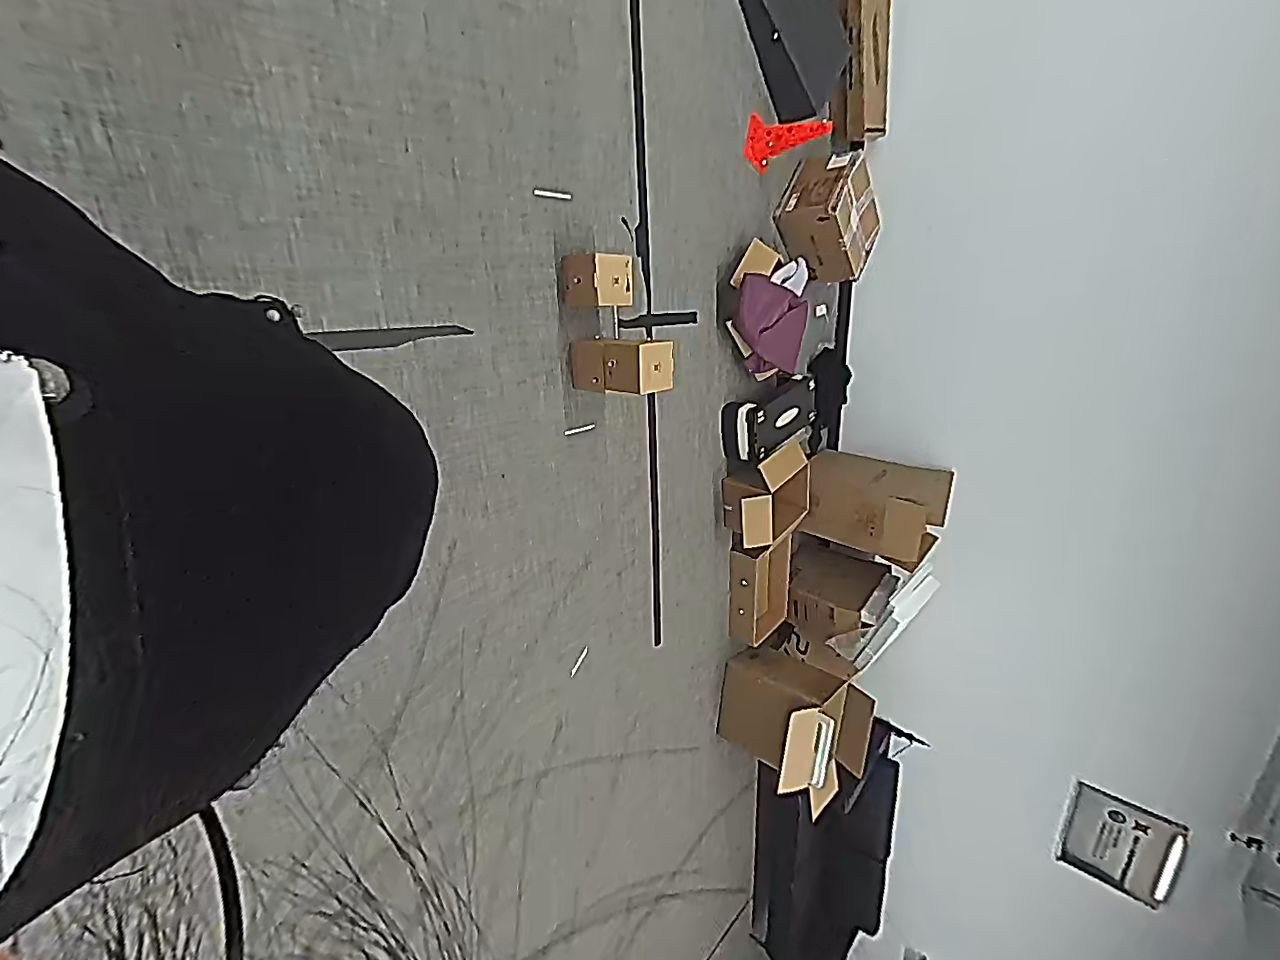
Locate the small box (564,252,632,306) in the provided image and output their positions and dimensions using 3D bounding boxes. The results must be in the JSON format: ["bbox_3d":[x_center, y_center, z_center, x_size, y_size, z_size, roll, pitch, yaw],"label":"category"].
[{"bbox_3d":[-0.149,-0.689,1.868,0.179,0.176,0.168,-19,115,-44],"label":"small box"}]

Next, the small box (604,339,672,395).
[{"bbox_3d":[-0.005,-0.396,1.872,0.179,0.176,0.168,-20,116,-43],"label":"small box"}]

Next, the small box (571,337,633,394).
[{"bbox_3d":[-0.134,-0.421,1.969,0.168,0.176,0.179,-24,119,-44],"label":"small box"}]
